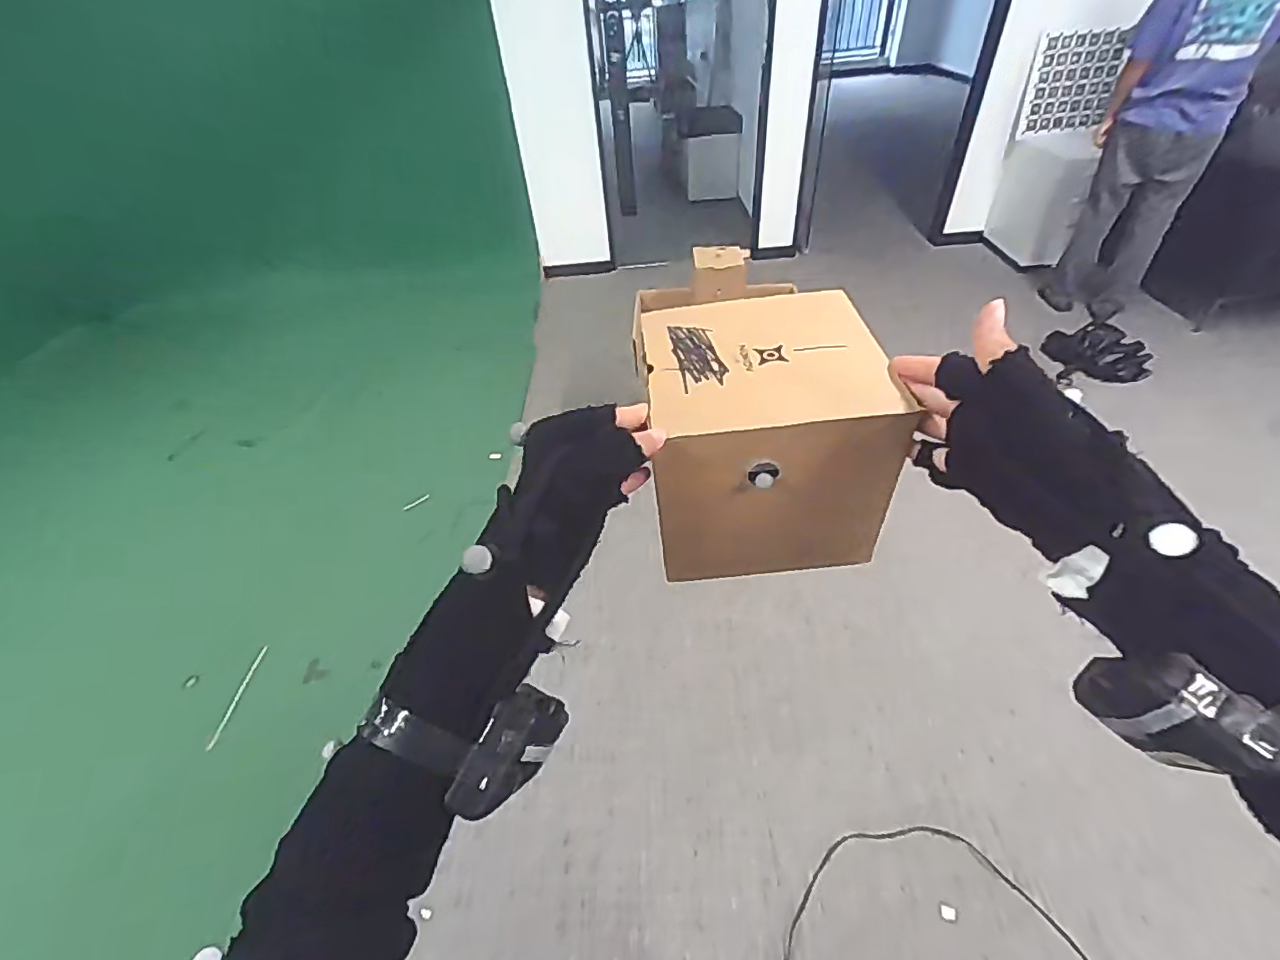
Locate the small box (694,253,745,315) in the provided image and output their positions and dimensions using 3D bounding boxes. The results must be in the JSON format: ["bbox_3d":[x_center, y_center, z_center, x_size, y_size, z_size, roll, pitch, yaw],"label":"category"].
[{"bbox_3d":[0.277,-0.685,1.910,0.168,0.176,0.179,-1,44,3],"label":"small box"}]

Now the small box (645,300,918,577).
[{"bbox_3d":[0.102,-0.032,0.465,0.179,0.176,0.168,-6,45,2],"label":"small box"}]
